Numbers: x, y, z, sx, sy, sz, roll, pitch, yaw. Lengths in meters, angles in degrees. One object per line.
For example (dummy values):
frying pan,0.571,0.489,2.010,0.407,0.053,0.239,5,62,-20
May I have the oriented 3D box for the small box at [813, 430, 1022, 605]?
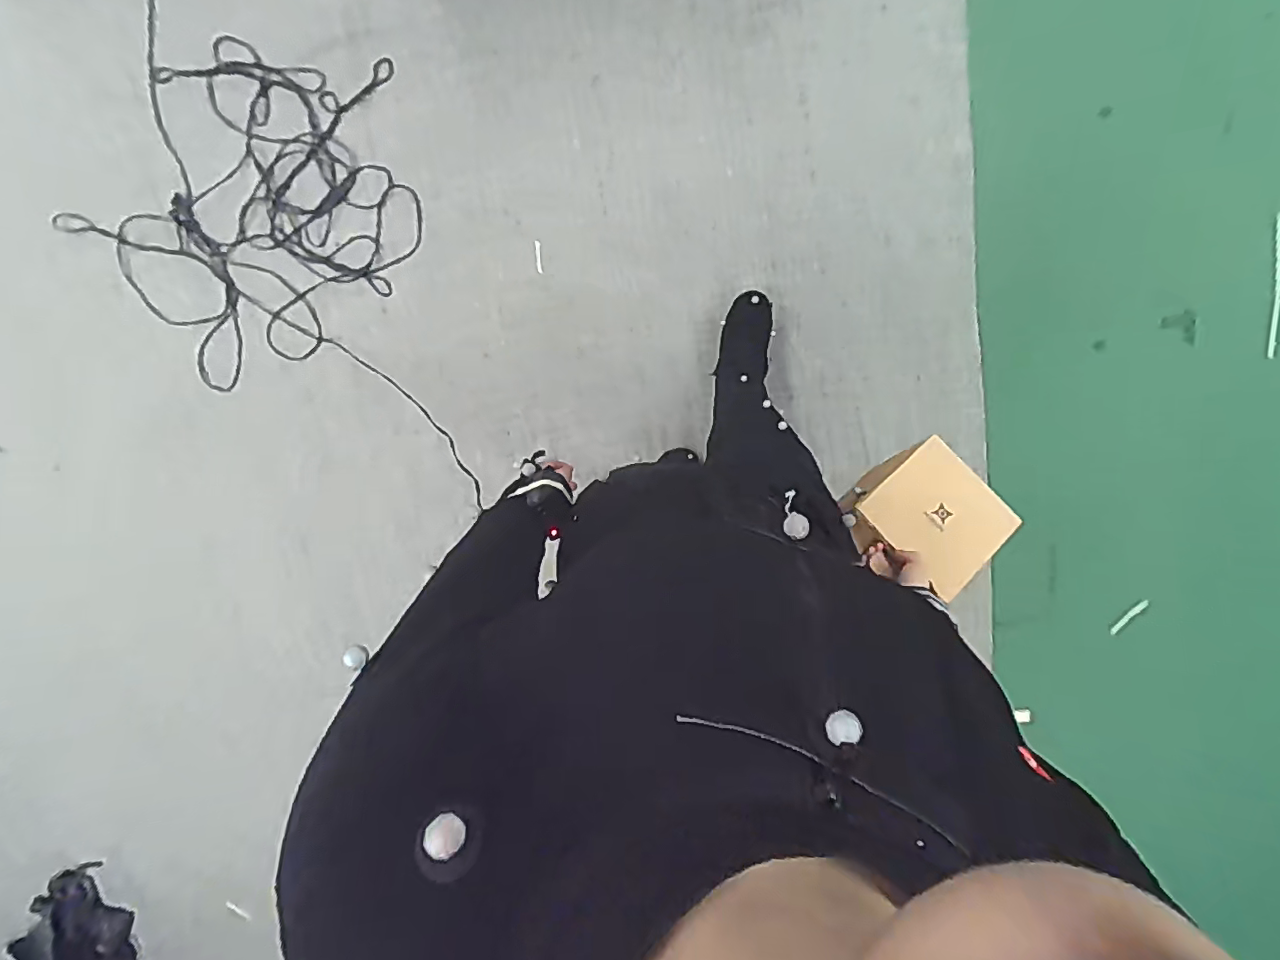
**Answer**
small box,0.388,0.062,0.786,0.179,0.176,0.168,-40,82,-16
